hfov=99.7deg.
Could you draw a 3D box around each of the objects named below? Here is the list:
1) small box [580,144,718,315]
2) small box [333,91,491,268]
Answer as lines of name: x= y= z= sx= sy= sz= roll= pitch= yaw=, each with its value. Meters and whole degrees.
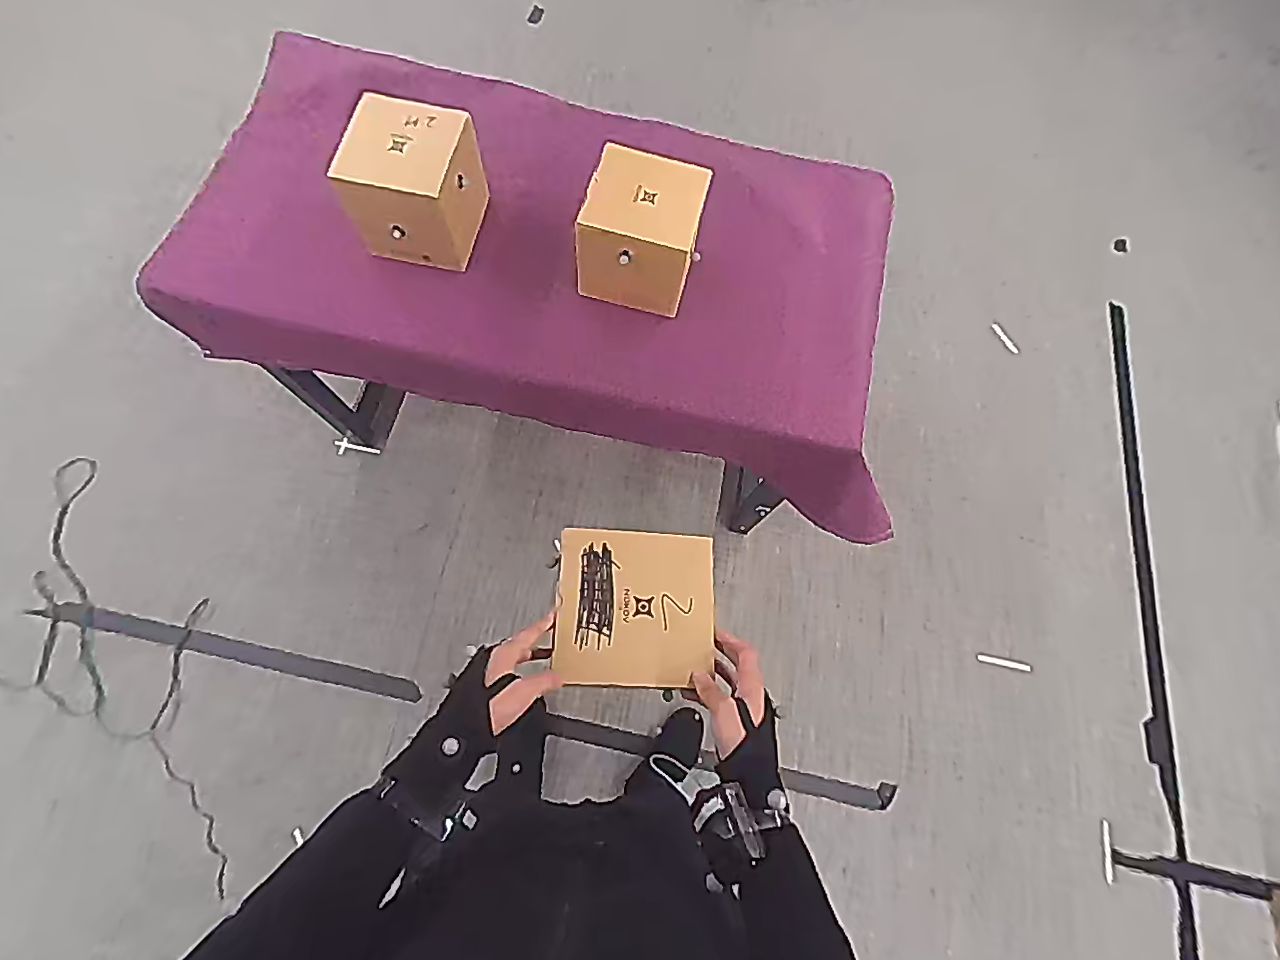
small box: x=0.012 y=-0.397 z=0.884 sx=0.179 sy=0.176 sz=0.168 roll=15 pitch=72 yaw=2
small box: x=-0.354 y=-0.478 z=0.881 sx=0.168 sy=0.176 sz=0.179 roll=12 pitch=71 yaw=-1
